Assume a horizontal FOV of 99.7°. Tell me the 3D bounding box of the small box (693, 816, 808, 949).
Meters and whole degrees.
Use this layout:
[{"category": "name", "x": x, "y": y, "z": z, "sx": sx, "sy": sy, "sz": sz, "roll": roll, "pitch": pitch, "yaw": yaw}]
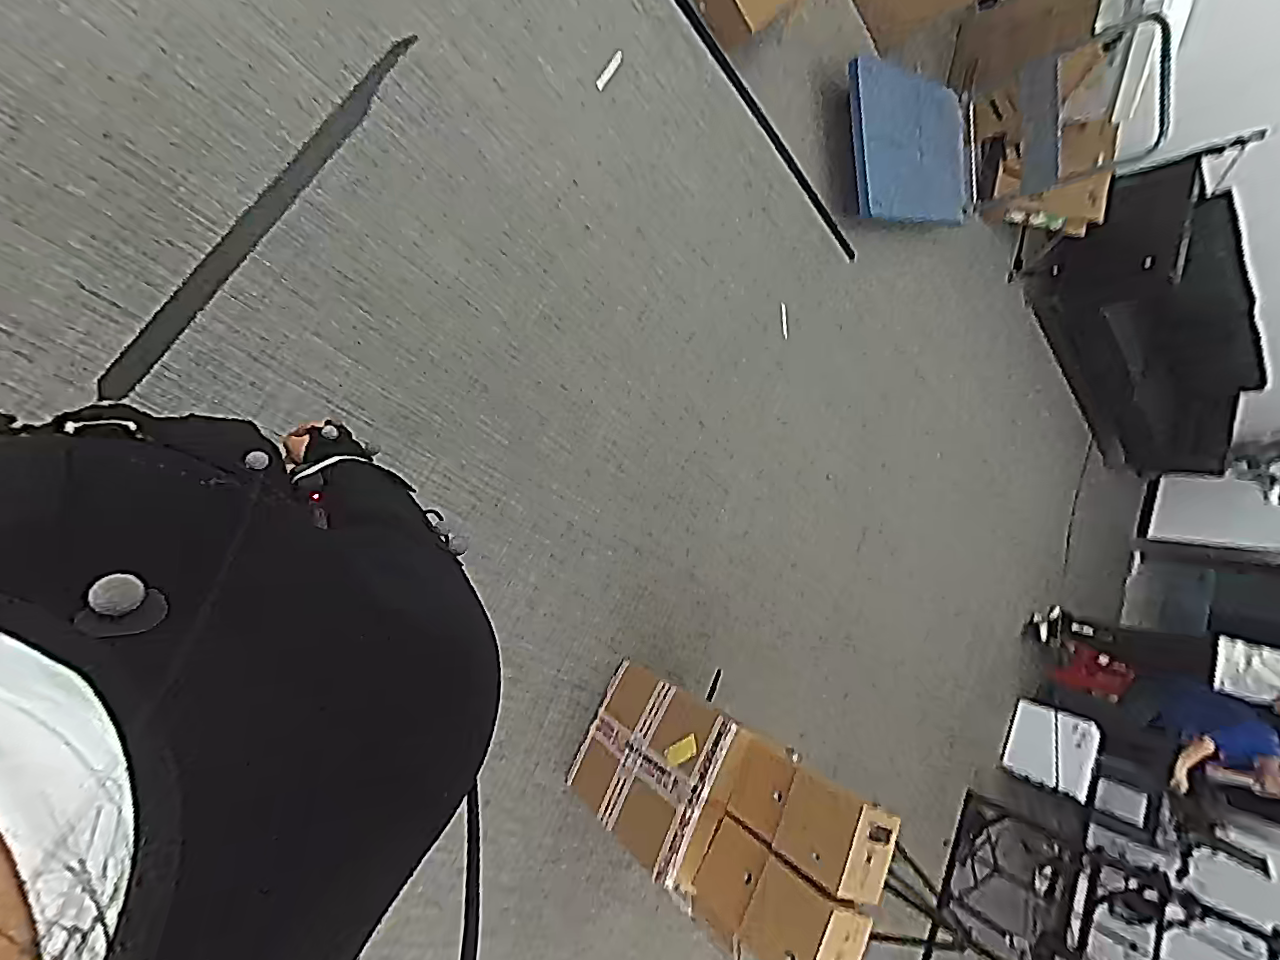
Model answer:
[{"category": "small box", "x": 0.254, "y": 0.936, "z": 1.270, "sx": 0.168, "sy": 0.176, "sz": 0.179, "roll": 42, "pitch": 71, "yaw": -28}]
